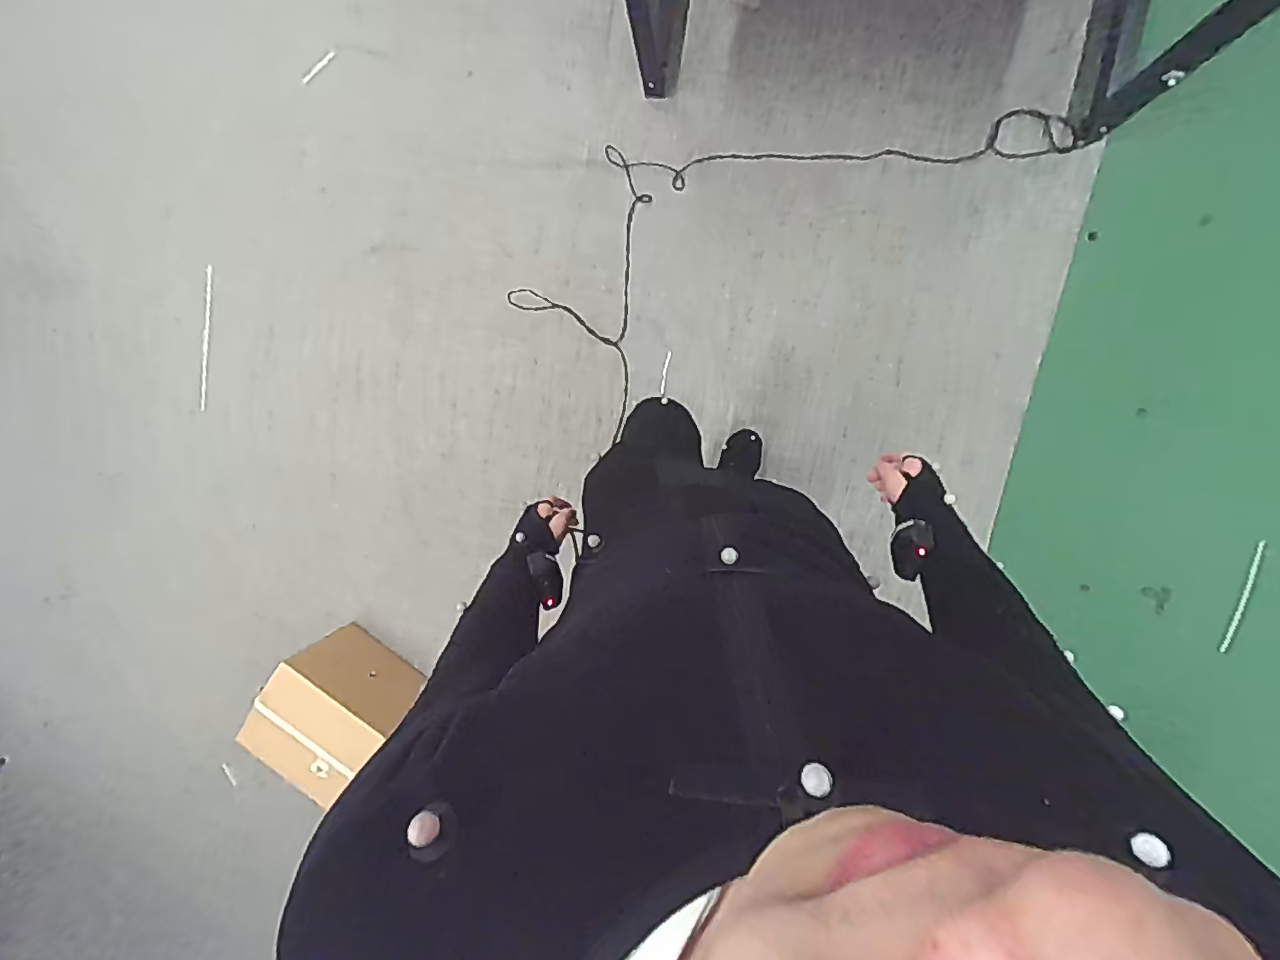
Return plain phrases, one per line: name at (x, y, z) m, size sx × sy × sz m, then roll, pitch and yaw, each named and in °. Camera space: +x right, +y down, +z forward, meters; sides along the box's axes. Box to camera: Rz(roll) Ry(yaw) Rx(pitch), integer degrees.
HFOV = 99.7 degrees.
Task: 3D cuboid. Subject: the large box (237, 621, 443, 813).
large box at (-0.921, 0.719, 1.698) m, size 0.408 × 0.320 × 0.320 m, roll 35°, pitch 100°, yaw 1°
